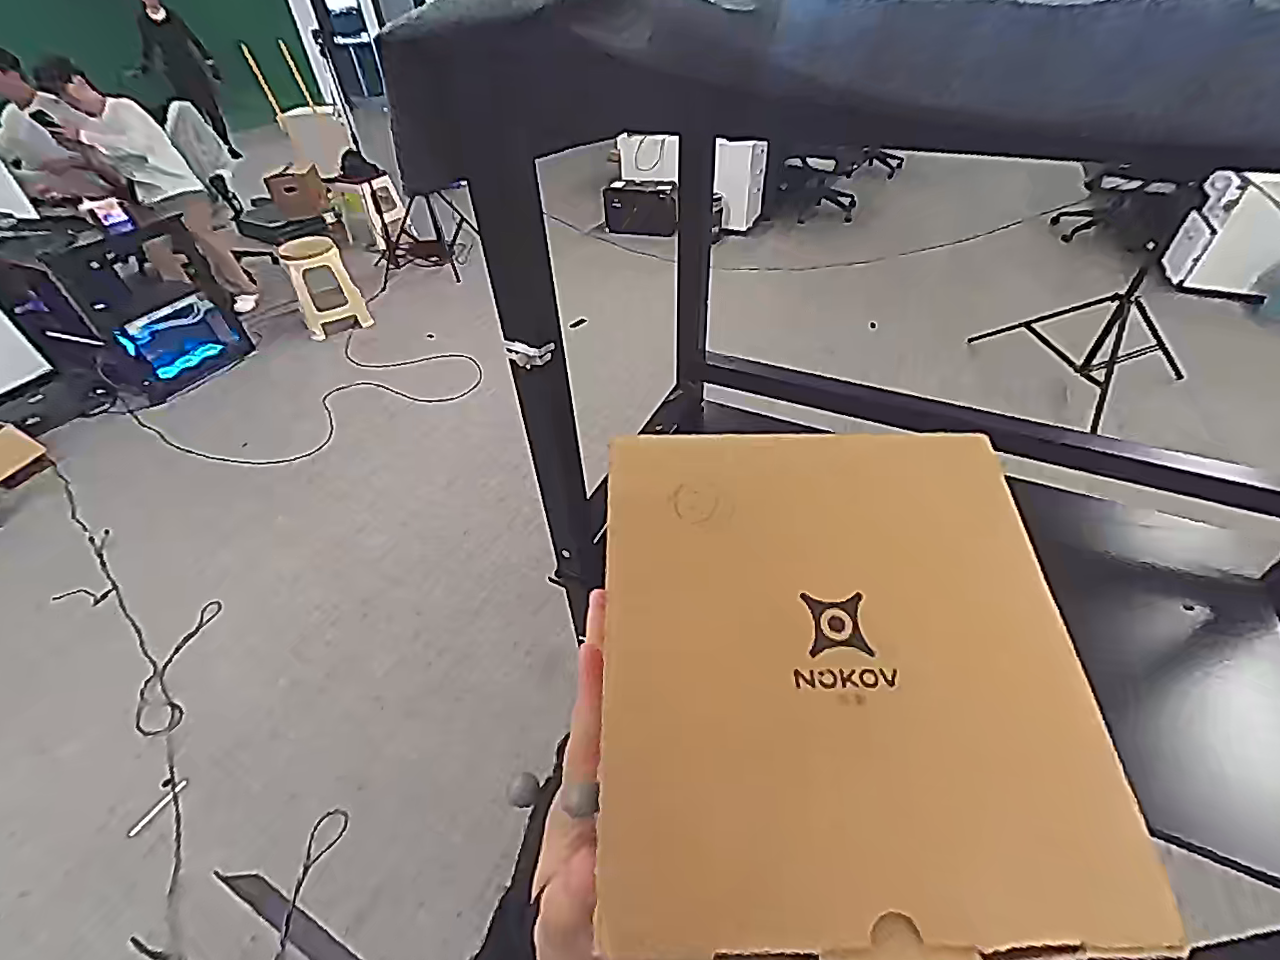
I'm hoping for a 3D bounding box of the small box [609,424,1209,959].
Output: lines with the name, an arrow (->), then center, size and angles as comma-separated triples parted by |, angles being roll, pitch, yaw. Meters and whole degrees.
small box -> 0.070, 0.092, 0.255 | 0.168, 0.176, 0.179 | -1, 60, -1
